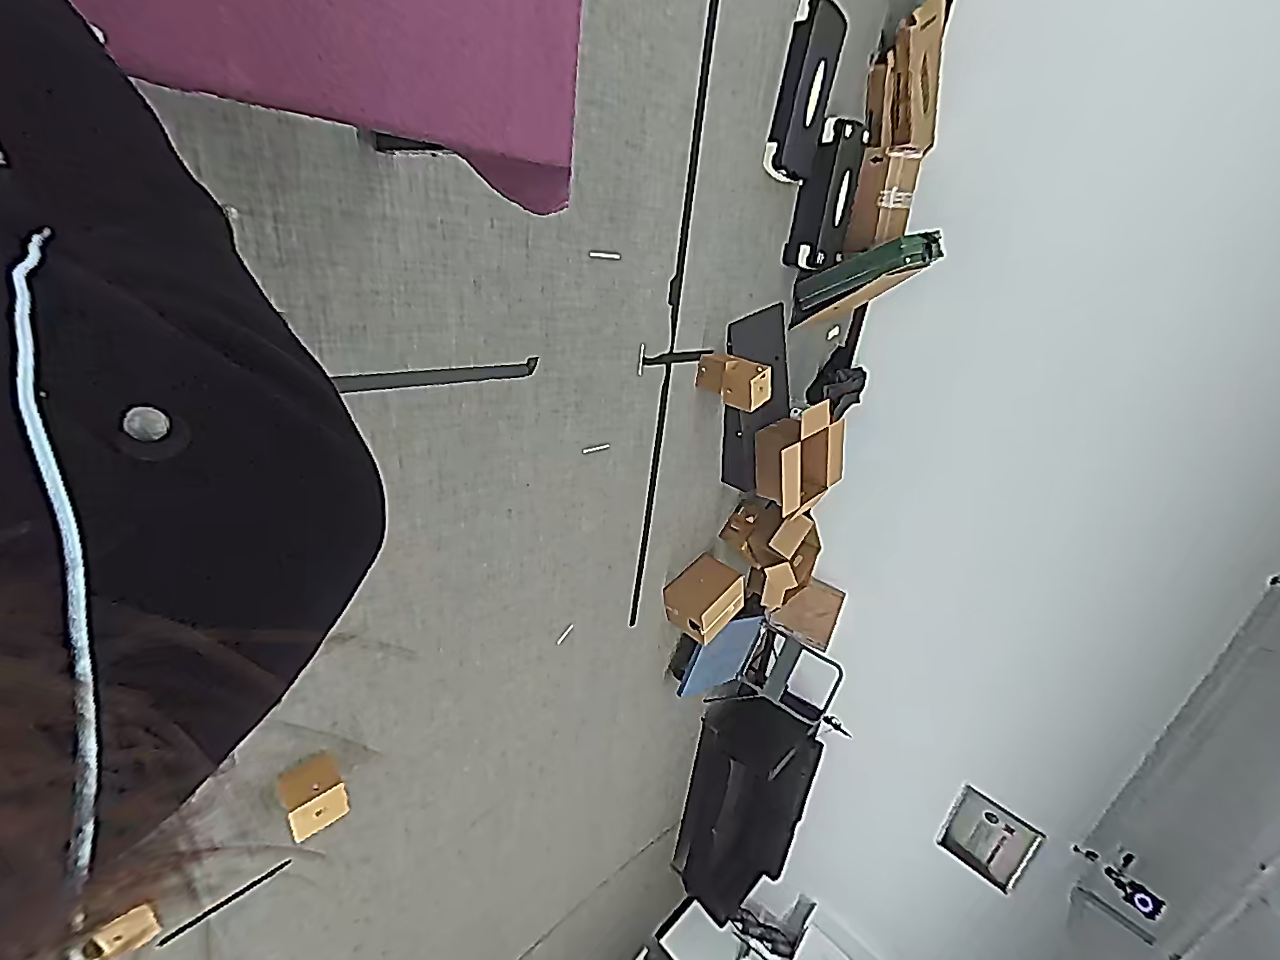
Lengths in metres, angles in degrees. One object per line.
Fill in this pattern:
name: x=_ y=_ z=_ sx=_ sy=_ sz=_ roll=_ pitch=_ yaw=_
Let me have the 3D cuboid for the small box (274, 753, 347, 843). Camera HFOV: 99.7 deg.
small box: x=-1.166 y=1.116 z=1.909 sx=0.179 sy=0.176 sz=0.168 roll=-21 pitch=126 yaw=-43
